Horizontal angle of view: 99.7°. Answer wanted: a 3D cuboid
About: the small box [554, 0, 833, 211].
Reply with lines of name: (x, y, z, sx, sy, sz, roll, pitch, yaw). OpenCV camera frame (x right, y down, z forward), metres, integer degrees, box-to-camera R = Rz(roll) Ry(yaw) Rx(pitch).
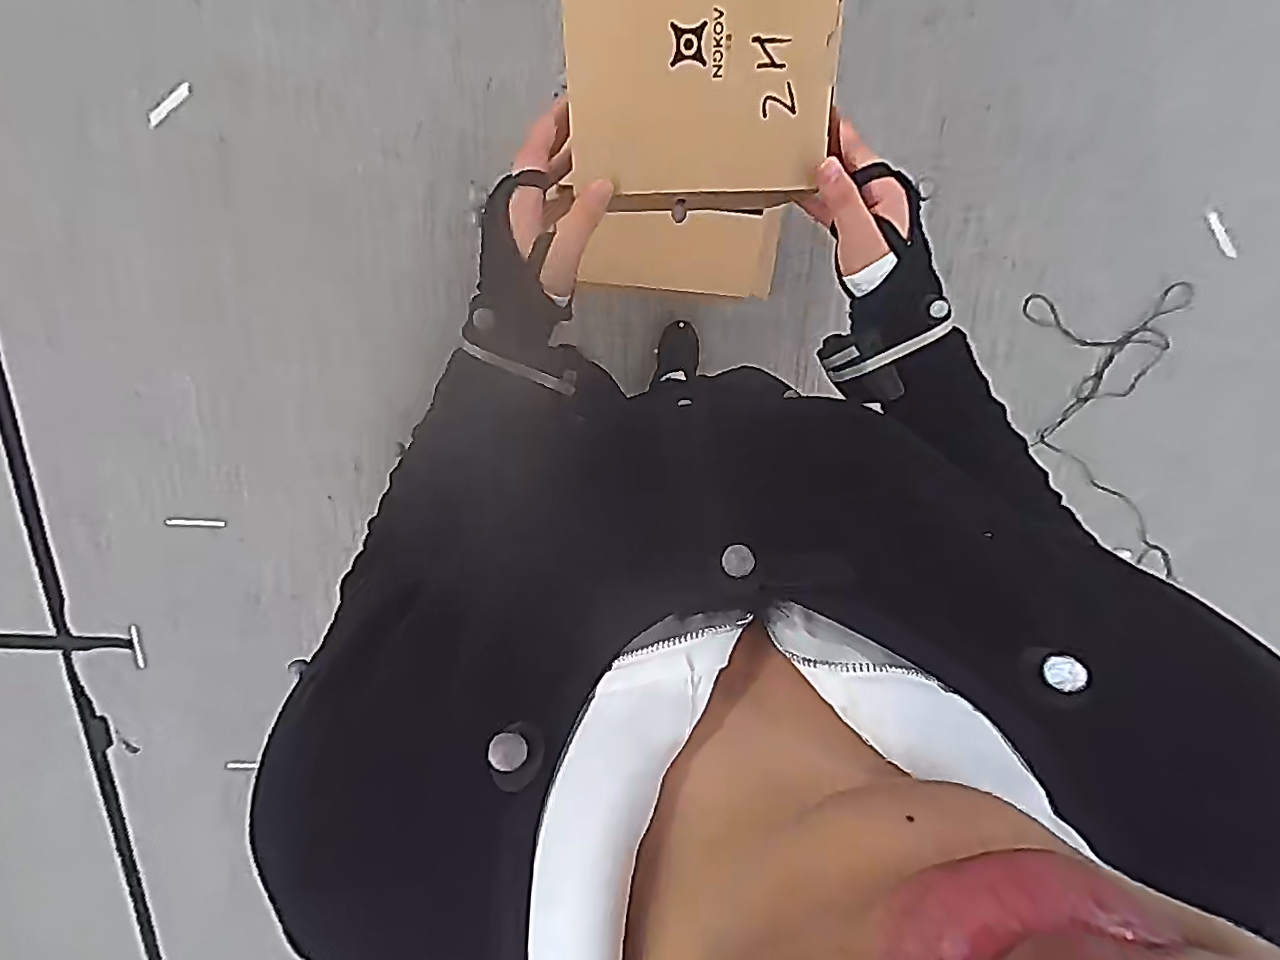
small box: (0.034, -0.307, 0.420, 0.179, 0.176, 0.168, -2, 113, 0)
